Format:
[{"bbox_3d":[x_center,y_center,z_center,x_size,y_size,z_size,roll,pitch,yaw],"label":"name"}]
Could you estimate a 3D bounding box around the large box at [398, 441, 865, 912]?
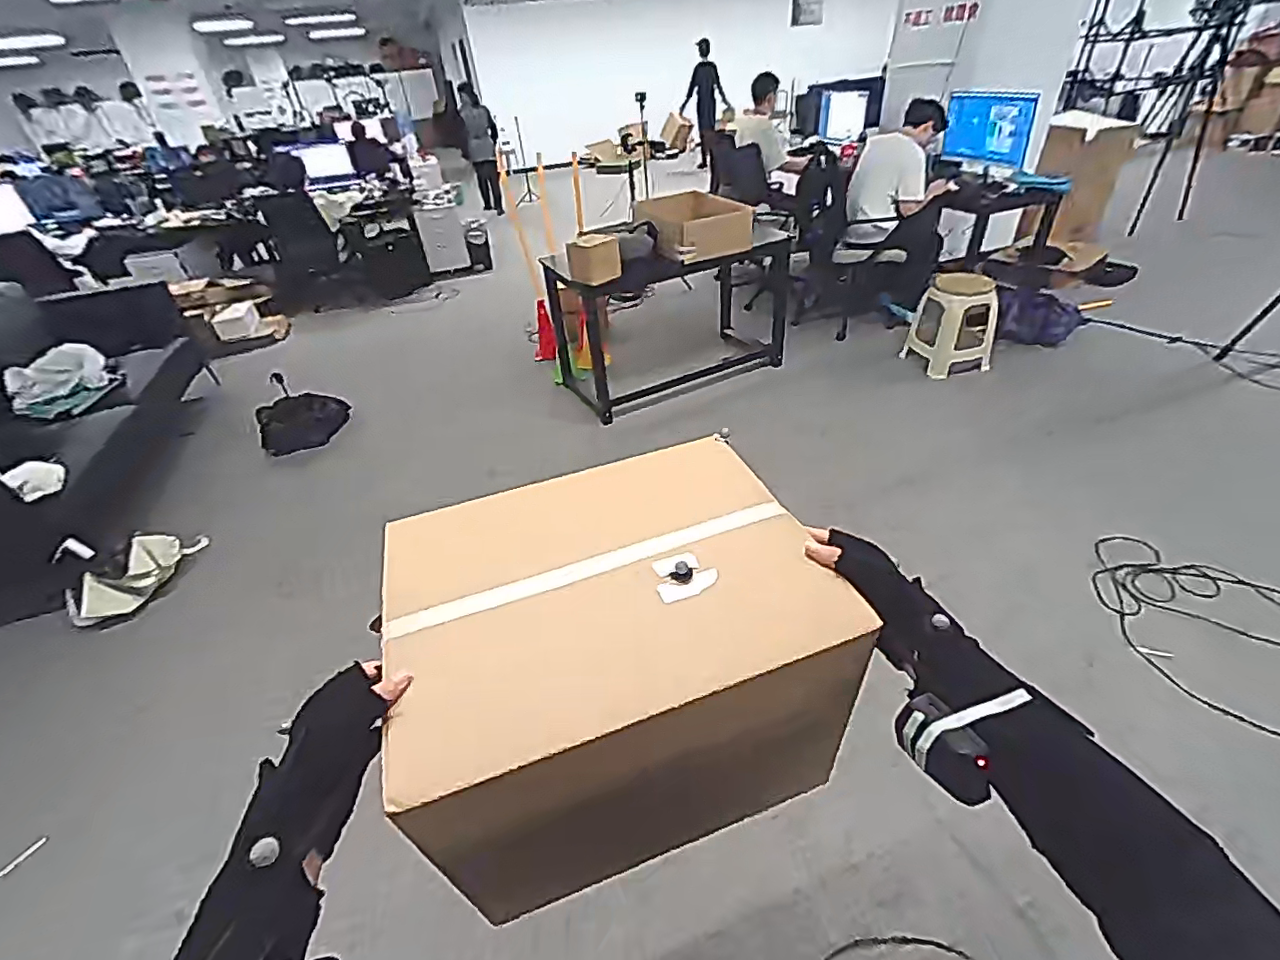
[{"bbox_3d":[-0.026,0.204,0.631,0.408,0.320,0.320,-15,41,-13],"label":"large box"}]
